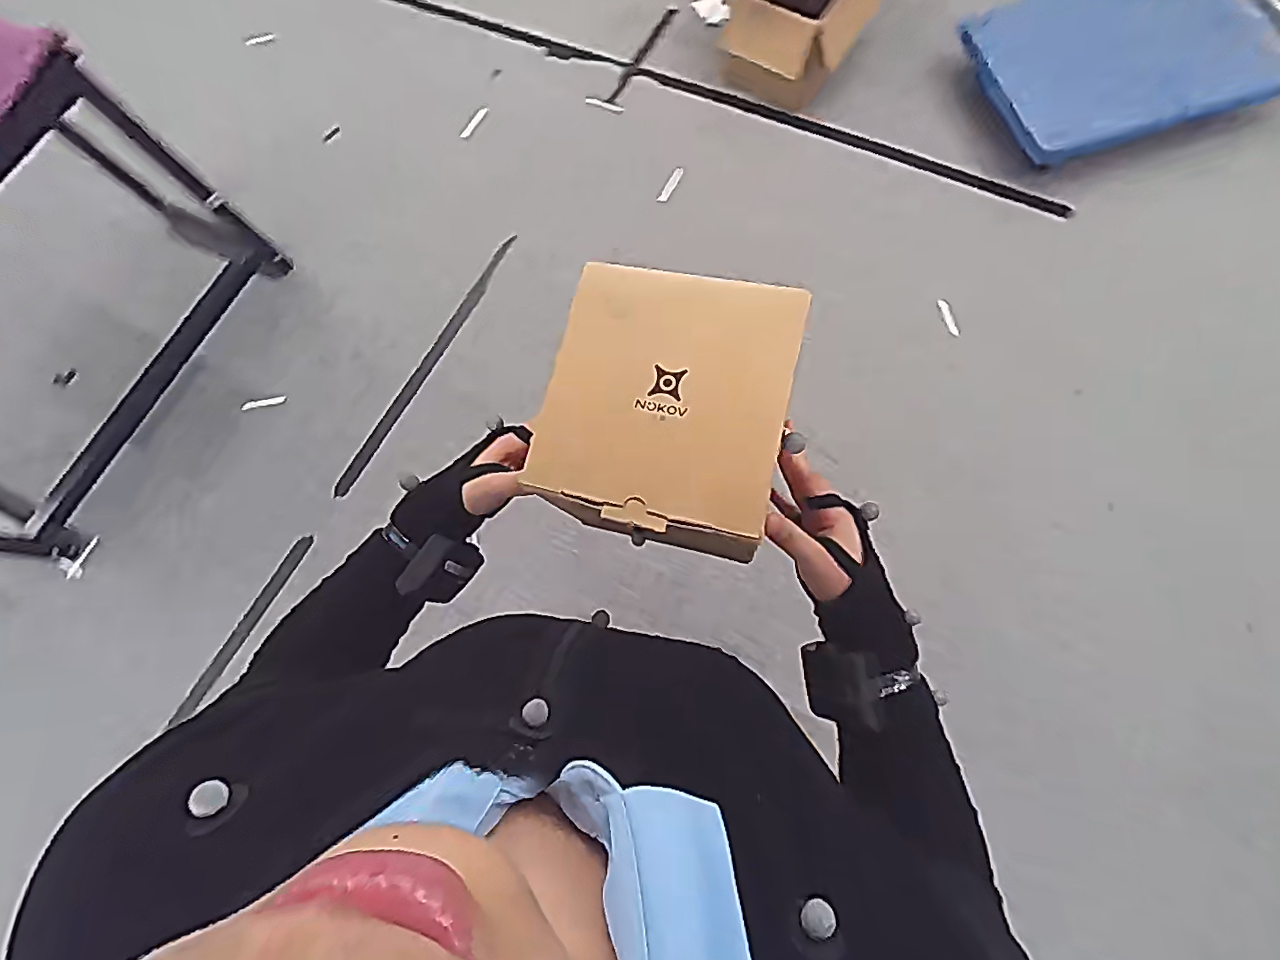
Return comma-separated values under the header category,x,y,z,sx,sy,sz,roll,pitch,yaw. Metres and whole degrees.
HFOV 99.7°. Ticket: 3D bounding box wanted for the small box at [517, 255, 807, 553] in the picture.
category,x,y,z,sx,sy,sz,roll,pitch,yaw
small box,0.026,-0.048,0.437,0.168,0.176,0.179,11,80,11
